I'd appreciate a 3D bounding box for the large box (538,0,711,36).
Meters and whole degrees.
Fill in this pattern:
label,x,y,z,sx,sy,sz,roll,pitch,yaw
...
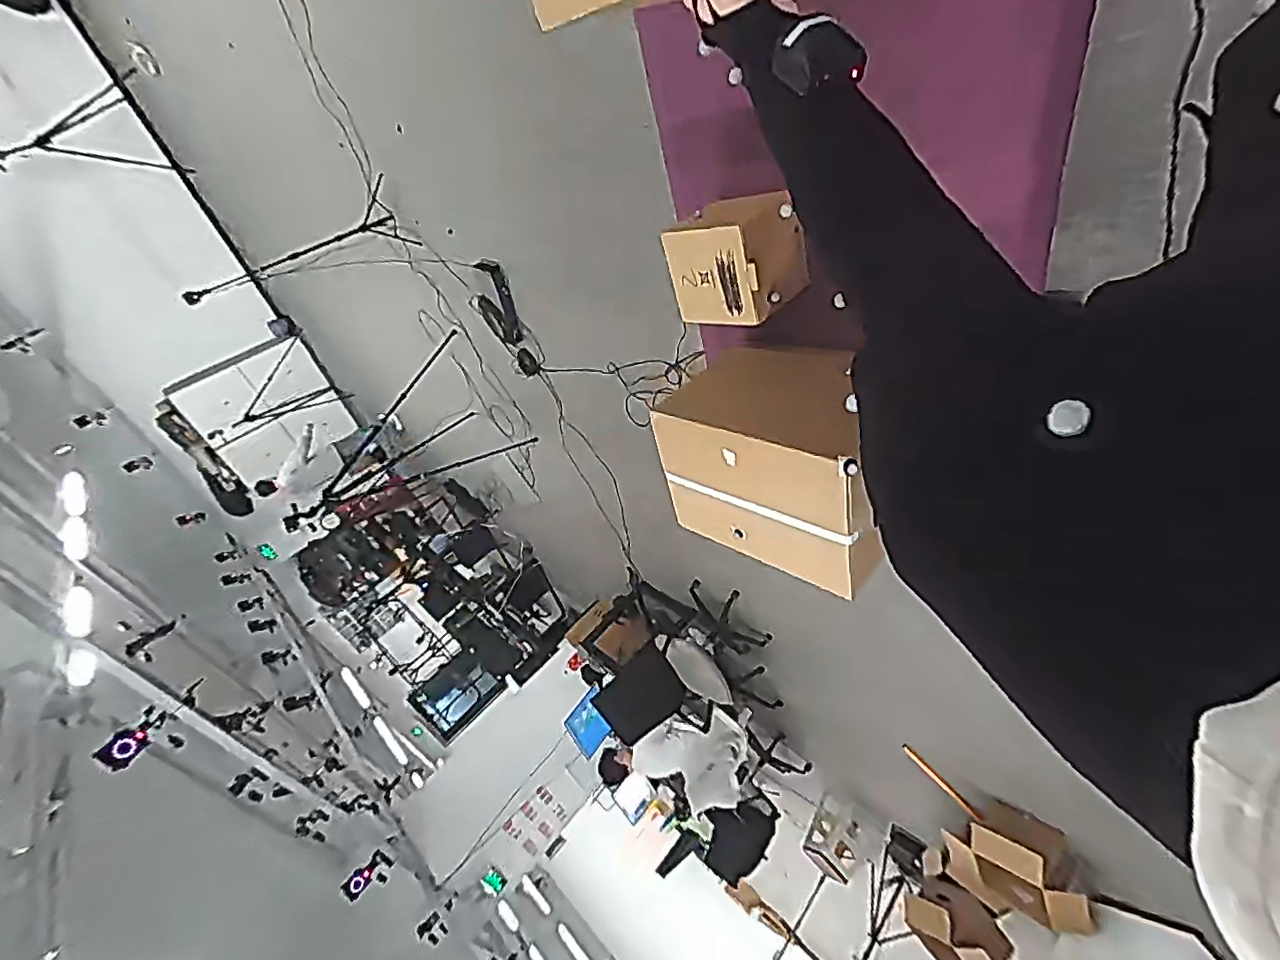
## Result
label,x,y,z,sx,sy,sz,roll,pitch,yaw
large box,0.088,-0.705,0.532,0.408,0.320,0.320,21,141,41
